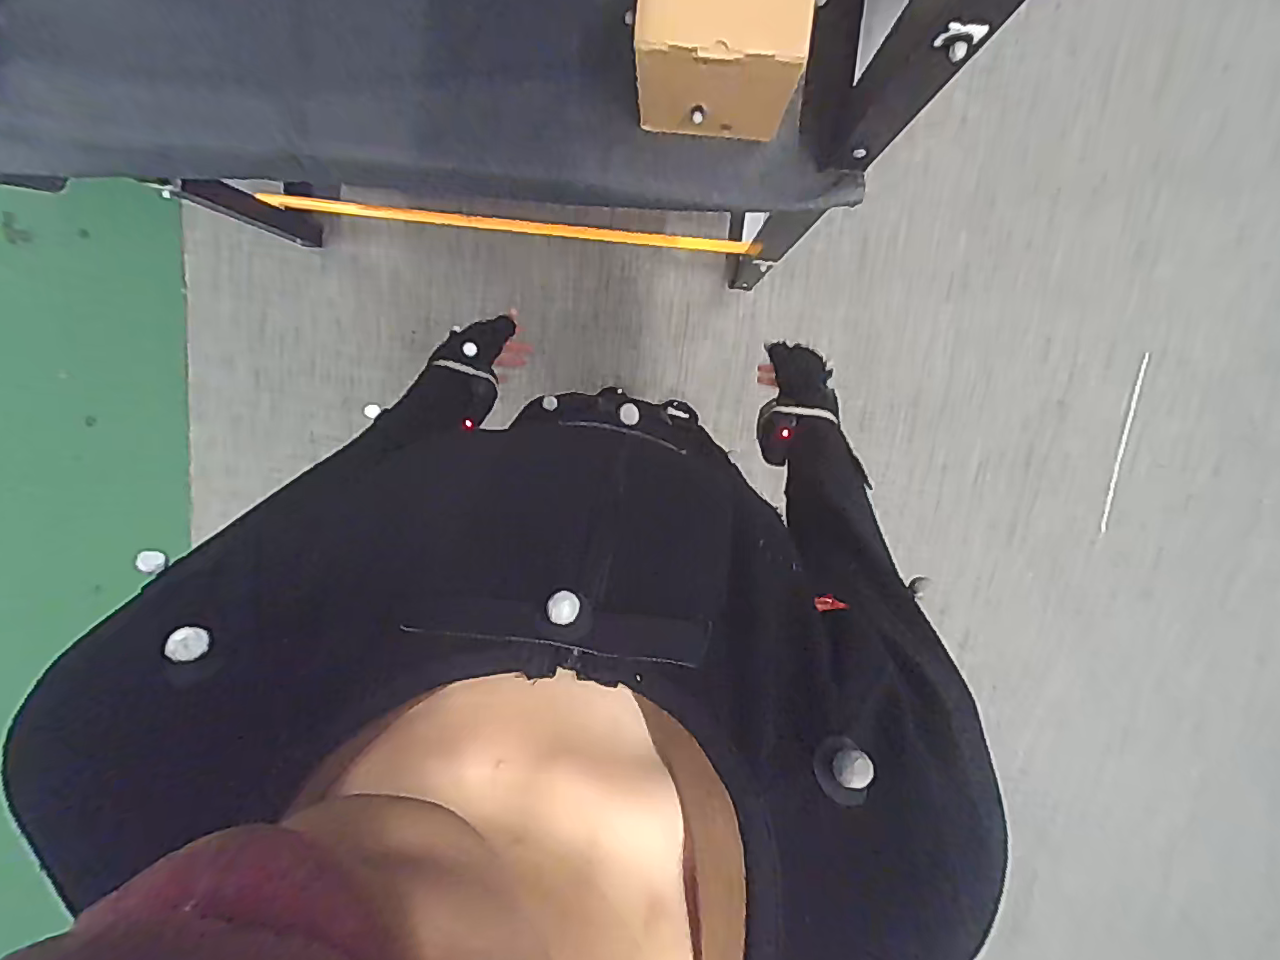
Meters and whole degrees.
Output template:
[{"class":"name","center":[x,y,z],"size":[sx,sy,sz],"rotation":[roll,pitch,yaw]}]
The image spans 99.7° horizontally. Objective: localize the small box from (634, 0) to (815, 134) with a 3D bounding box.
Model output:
[{"class":"small box","center":[0.086,-0.502,0.566],"size":[0.168,0.176,0.179],"rotation":[6,100,1]}]
